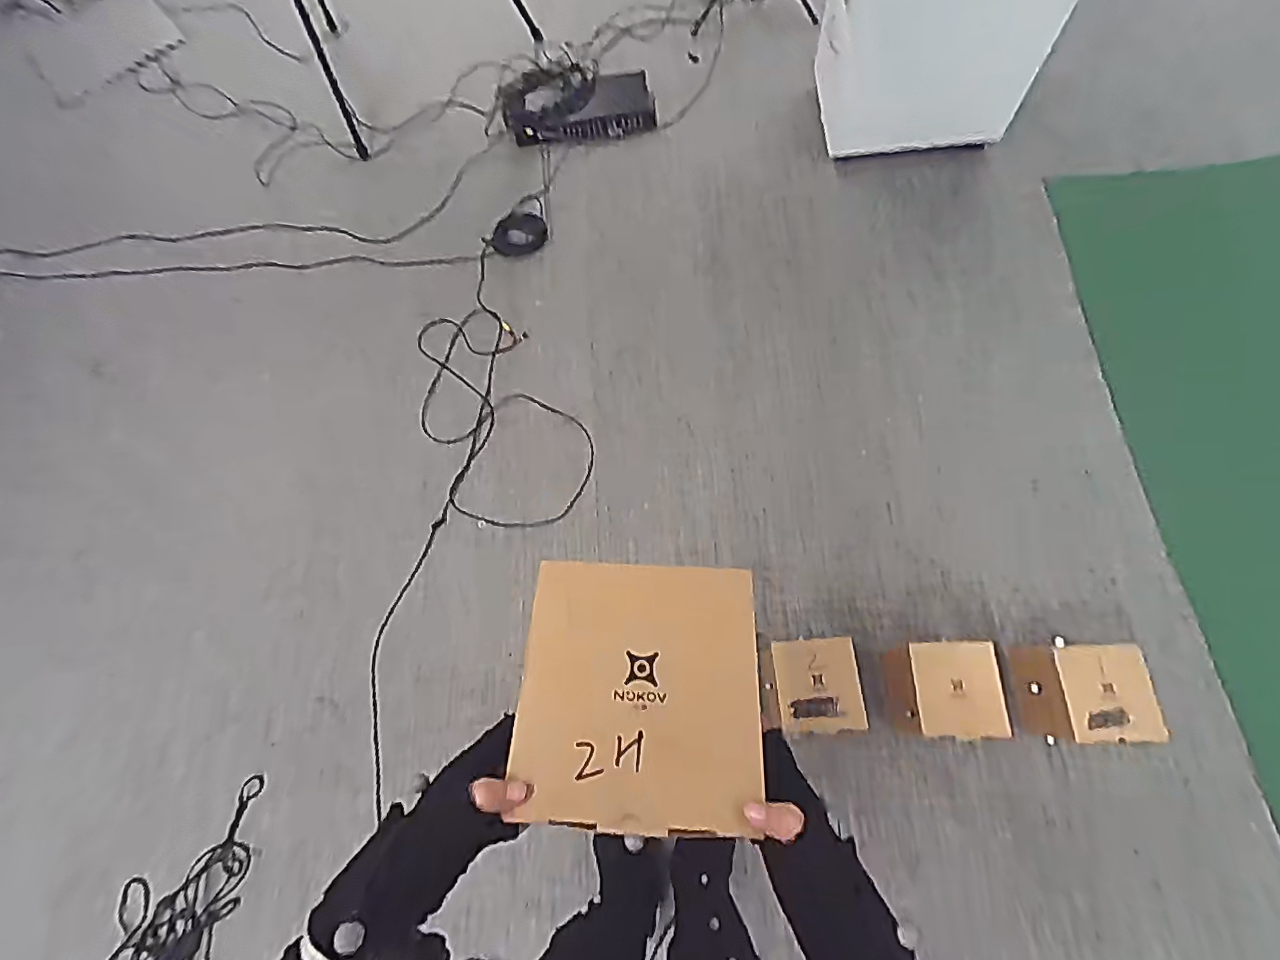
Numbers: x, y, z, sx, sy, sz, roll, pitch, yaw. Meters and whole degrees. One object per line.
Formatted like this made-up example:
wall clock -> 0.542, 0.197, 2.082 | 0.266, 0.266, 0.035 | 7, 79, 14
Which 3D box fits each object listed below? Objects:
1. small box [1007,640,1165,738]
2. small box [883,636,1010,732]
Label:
small box -> 0.895, 0.421, 1.106 | 0.168, 0.176, 0.179 | -3, 70, 5
small box -> 0.627, 0.424, 1.133 | 0.168, 0.176, 0.179 | -2, 71, 5
